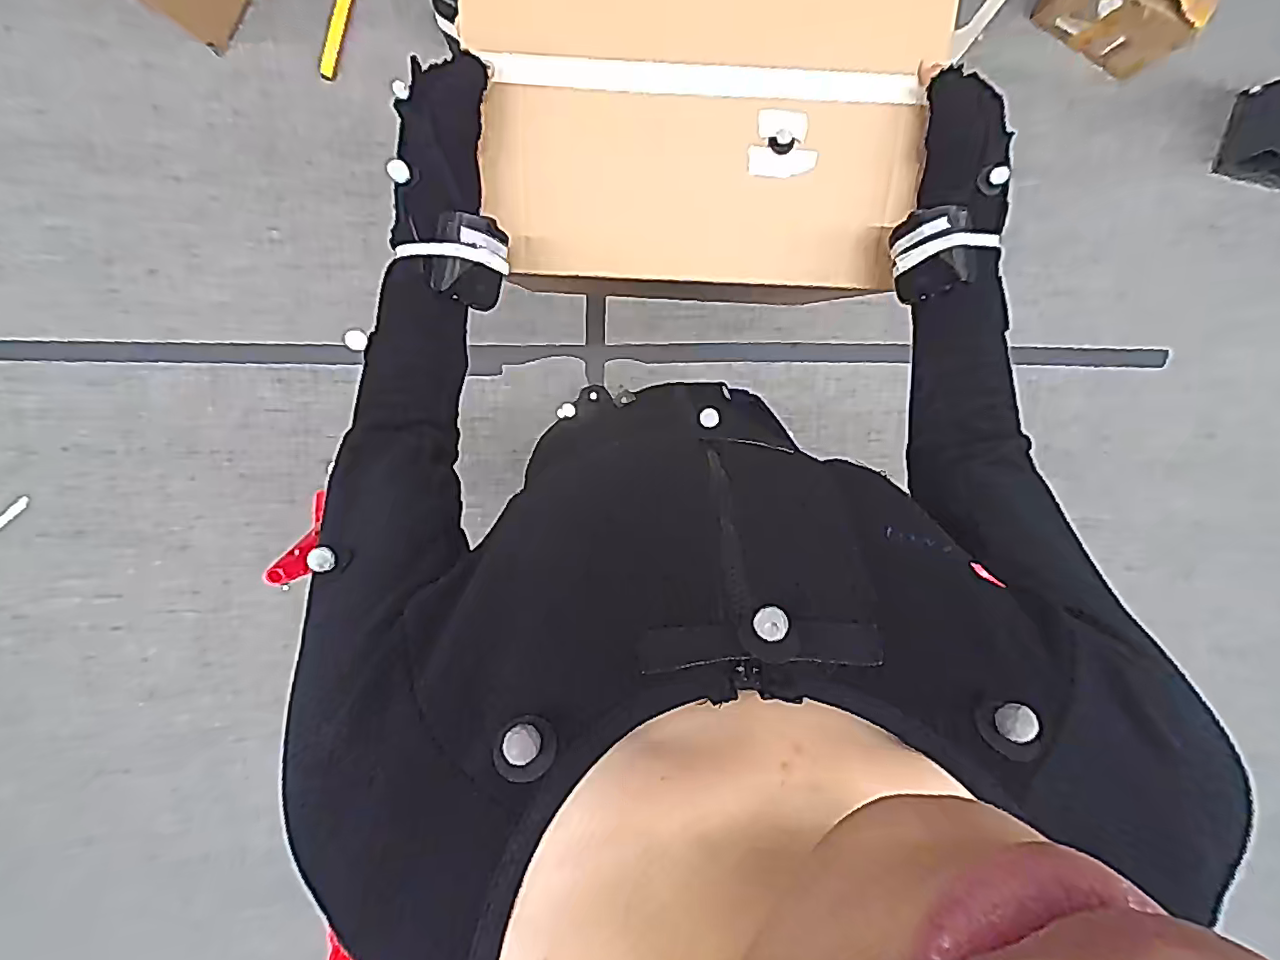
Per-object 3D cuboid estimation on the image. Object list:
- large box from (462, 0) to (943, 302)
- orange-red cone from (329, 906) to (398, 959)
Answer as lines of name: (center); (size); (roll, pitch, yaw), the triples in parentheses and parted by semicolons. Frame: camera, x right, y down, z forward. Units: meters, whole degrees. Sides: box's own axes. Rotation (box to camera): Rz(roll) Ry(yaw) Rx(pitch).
large box: (0.044, -0.373, 0.602); (0.408, 0.320, 0.320); (1, 105, -3)
orange-red cone: (-0.850, 1.440, 1.508); (0.198, 0.360, 0.199); (-2, 102, -2)
